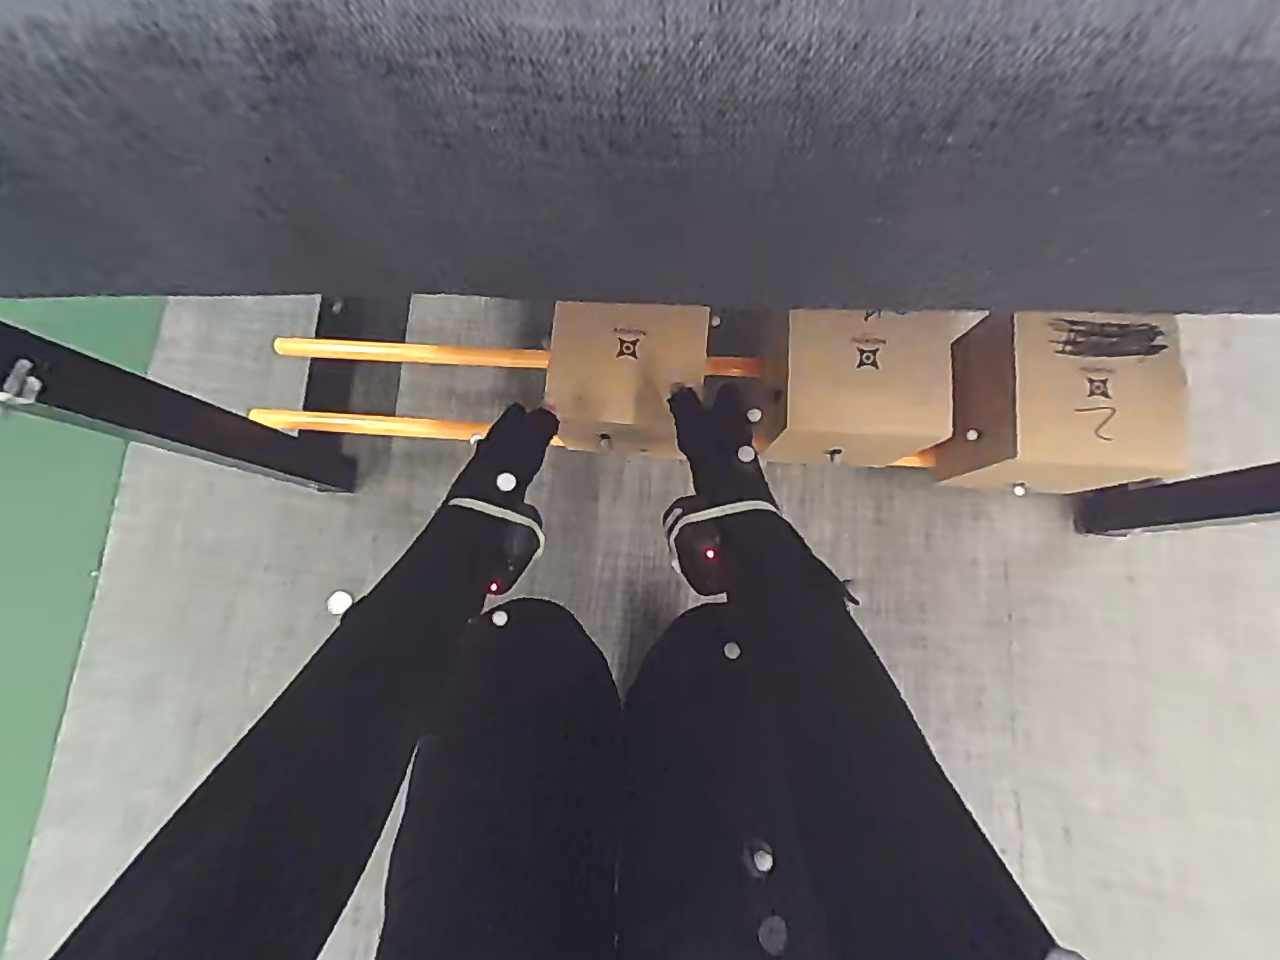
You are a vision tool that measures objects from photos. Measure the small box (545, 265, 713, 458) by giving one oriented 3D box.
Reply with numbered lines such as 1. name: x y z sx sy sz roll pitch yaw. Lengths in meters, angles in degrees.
1. small box: -0.008 -0.128 0.646 0.168 0.176 0.179 5 81 2

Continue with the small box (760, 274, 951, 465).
1. small box: 0.238 -0.117 0.634 0.168 0.176 0.179 3 80 3
